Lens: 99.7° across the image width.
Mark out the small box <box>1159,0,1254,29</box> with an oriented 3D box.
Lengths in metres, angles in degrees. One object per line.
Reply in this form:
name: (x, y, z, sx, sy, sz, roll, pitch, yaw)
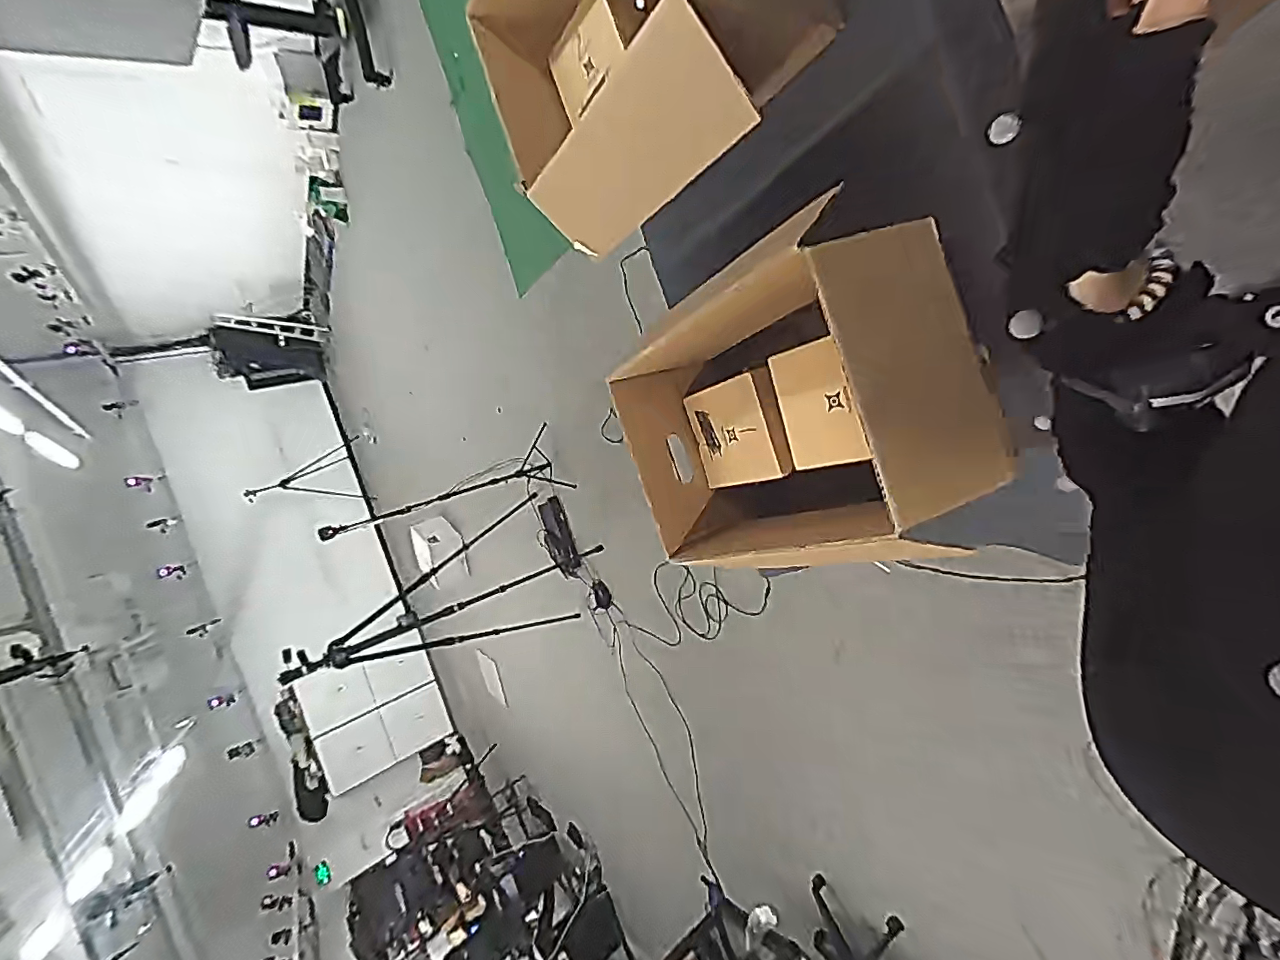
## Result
small box: (0.275, -0.320, 0.188, 0.179, 0.176, 0.168, -27, 88, 47)
